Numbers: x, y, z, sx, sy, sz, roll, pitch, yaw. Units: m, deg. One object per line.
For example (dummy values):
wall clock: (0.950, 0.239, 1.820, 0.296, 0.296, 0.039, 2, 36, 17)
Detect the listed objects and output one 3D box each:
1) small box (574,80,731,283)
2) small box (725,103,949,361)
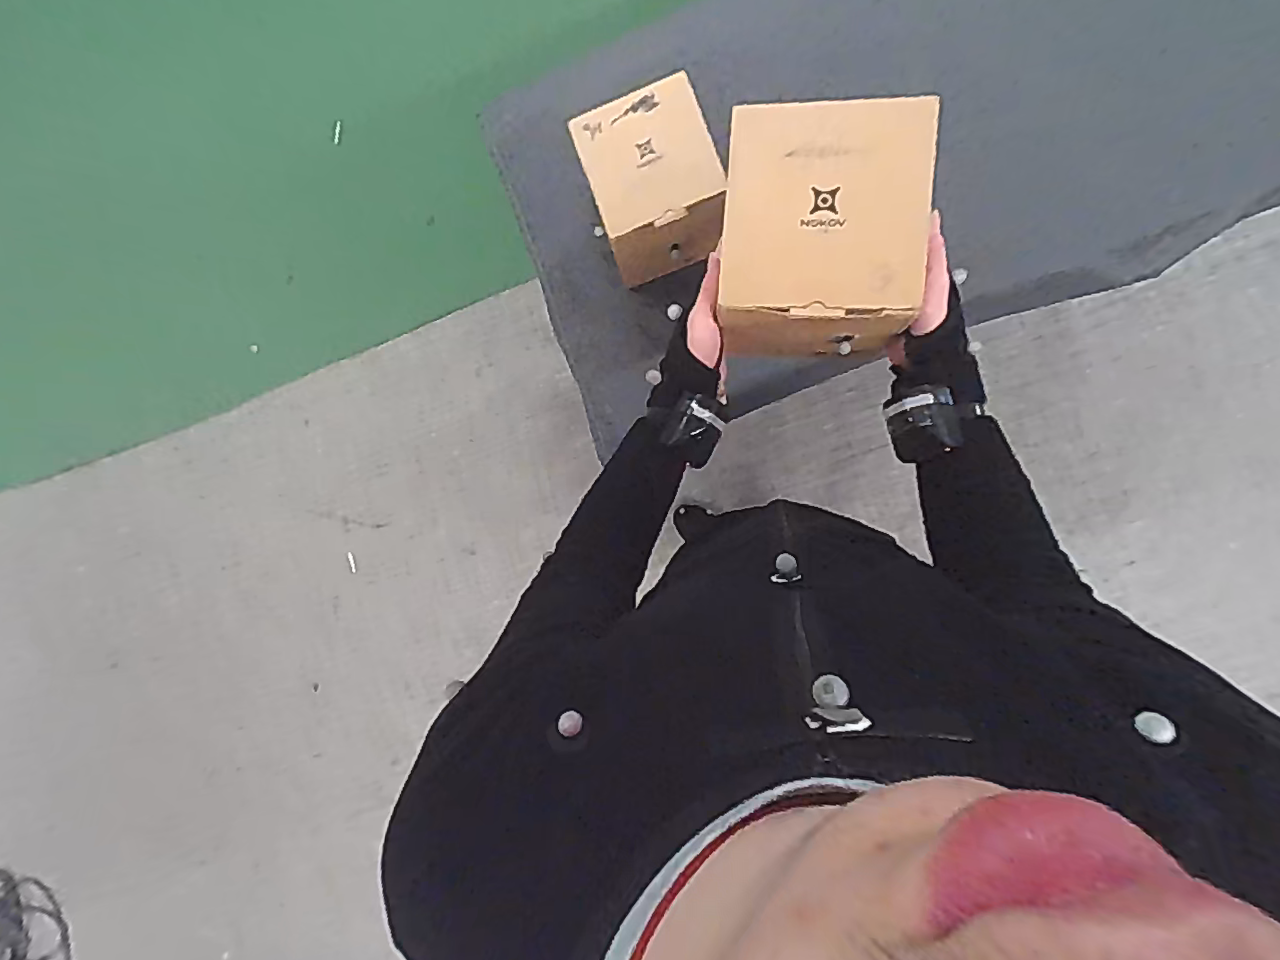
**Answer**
small box: (0.025, -0.408, 0.780, 0.168, 0.176, 0.179, -20, 86, 5)
small box: (0.173, -0.220, 0.523, 0.168, 0.176, 0.179, 5, 89, 9)
